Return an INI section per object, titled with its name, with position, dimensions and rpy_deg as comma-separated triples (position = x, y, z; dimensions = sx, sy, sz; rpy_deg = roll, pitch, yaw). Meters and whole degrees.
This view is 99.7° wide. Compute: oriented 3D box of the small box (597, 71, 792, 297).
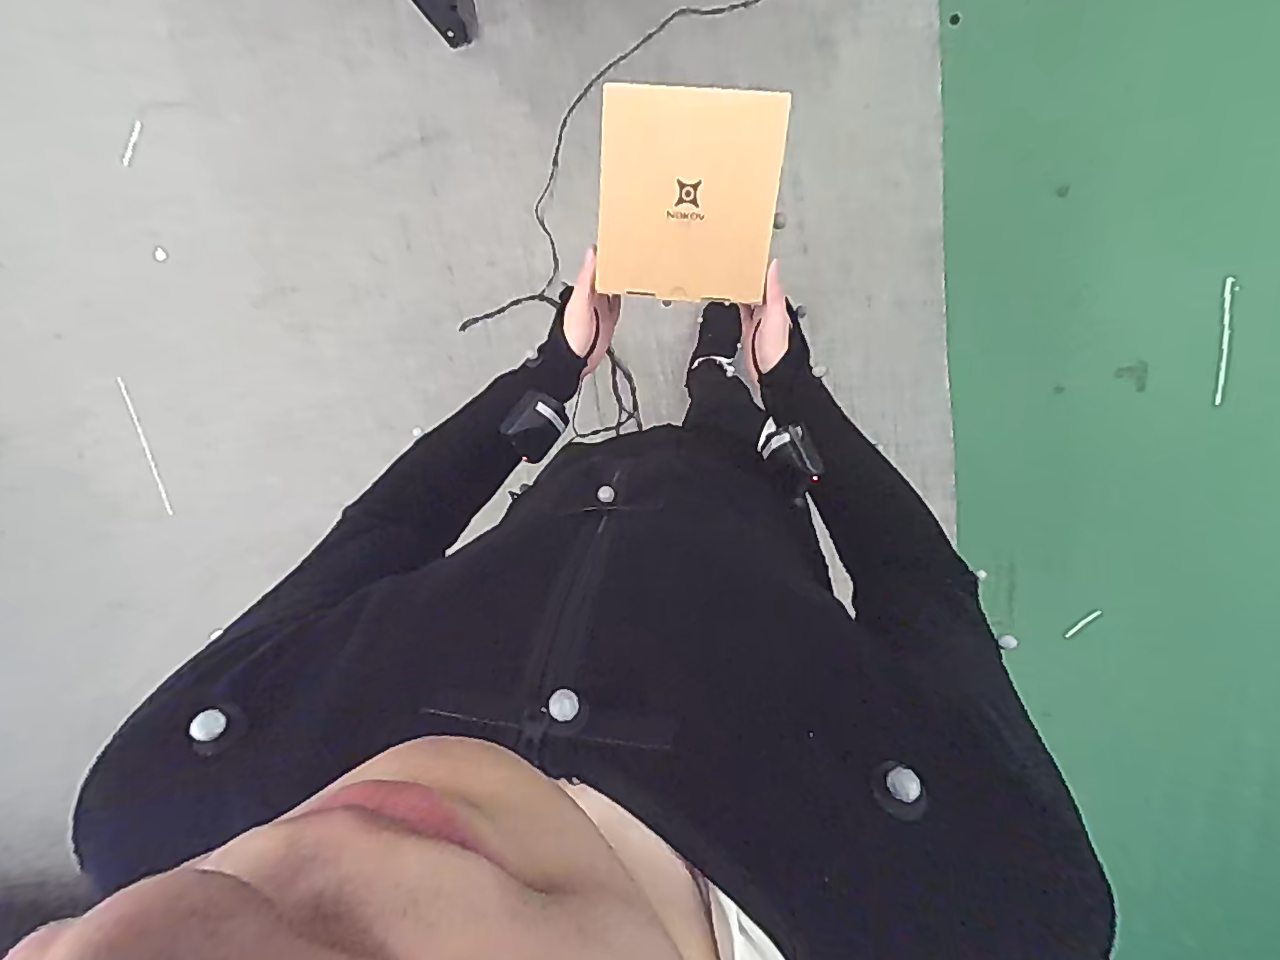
[small box]
position = 0.049, -0.295, 0.571
dimensions = 0.168, 0.176, 0.179
rpy_deg = 5, 112, 2
